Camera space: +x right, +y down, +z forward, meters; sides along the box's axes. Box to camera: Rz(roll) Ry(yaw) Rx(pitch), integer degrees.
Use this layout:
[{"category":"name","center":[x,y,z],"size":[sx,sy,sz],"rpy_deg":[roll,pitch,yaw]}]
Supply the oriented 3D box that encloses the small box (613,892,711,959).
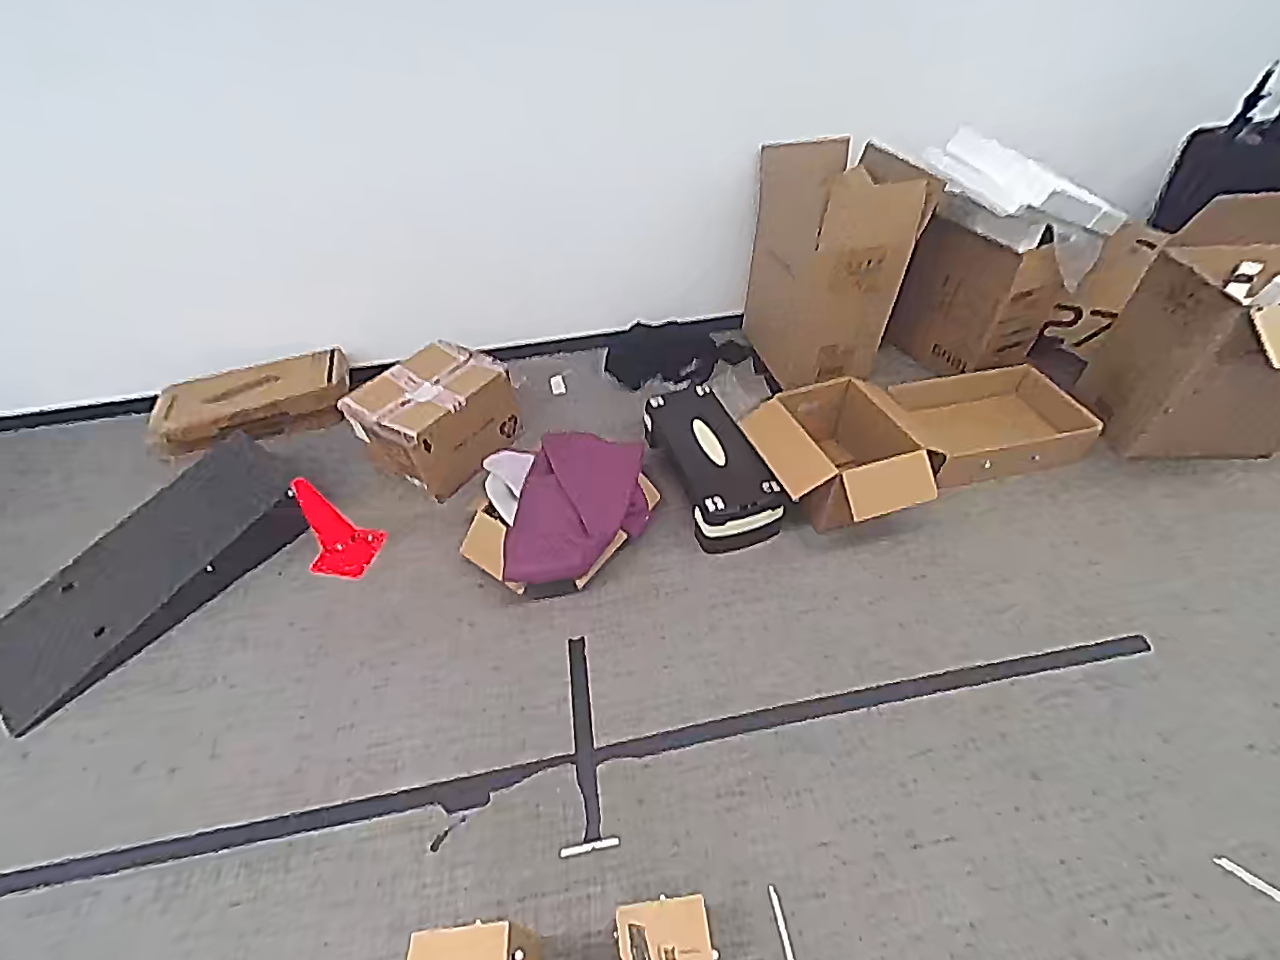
[{"category":"small box","center":[0.047,0.930,1.055],"size":[0.179,0.176,0.168],"rpy_deg":[-6,46,-3]}]

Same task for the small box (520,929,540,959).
[{"category":"small box","center":[-0.282,0.983,1.025],"size":[0.168,0.176,0.179],"rpy_deg":[-10,47,-5]}]

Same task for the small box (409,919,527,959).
[{"category":"small box","center":[-0.290,0.866,0.908],"size":[0.168,0.176,0.179],"rpy_deg":[-6,46,-1]}]
